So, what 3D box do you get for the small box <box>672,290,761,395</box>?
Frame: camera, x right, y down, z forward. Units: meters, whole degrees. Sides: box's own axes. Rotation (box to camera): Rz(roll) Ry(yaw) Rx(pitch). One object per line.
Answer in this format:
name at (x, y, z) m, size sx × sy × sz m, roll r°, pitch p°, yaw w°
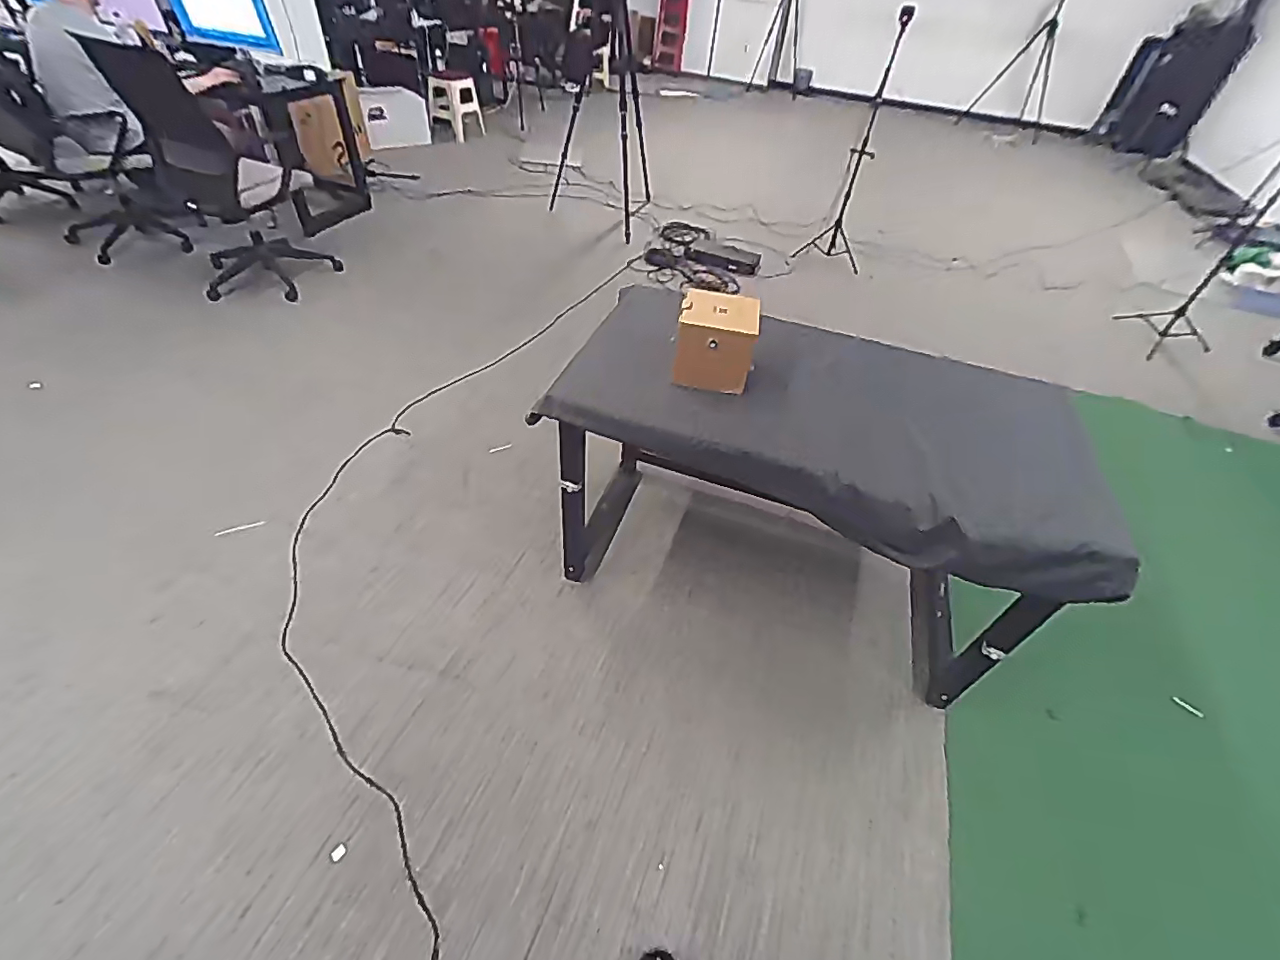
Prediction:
small box at (0.177, -0.321, 1.277) m, size 0.179 × 0.176 × 0.168 m, roll 12°, pitch 47°, yaw 3°
